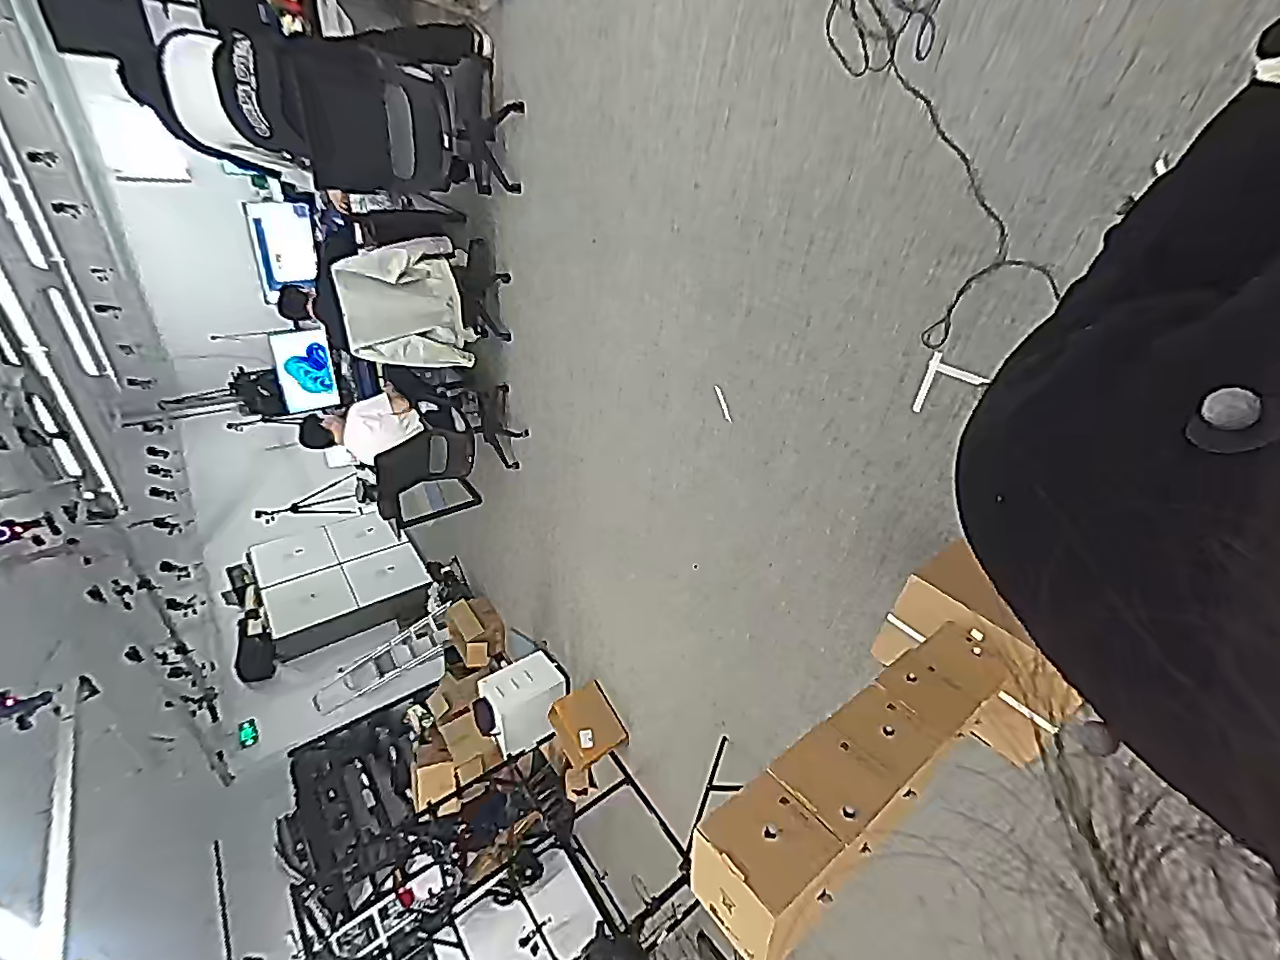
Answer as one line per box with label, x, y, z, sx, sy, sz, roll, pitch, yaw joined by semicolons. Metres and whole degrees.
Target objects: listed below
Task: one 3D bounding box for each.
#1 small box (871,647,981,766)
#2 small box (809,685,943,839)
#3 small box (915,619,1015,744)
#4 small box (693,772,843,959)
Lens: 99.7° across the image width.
small box;0.595;0.497;1.163;0.168;0.176;0.179;37;134;41
small box;0.467;0.545;1.070;0.168;0.176;0.179;33;130;44
small box;0.724;0.461;1.252;0.168;0.176;0.179;37;133;39
small box;0.208;0.628;0.887;0.168;0.176;0.179;29;127;46
